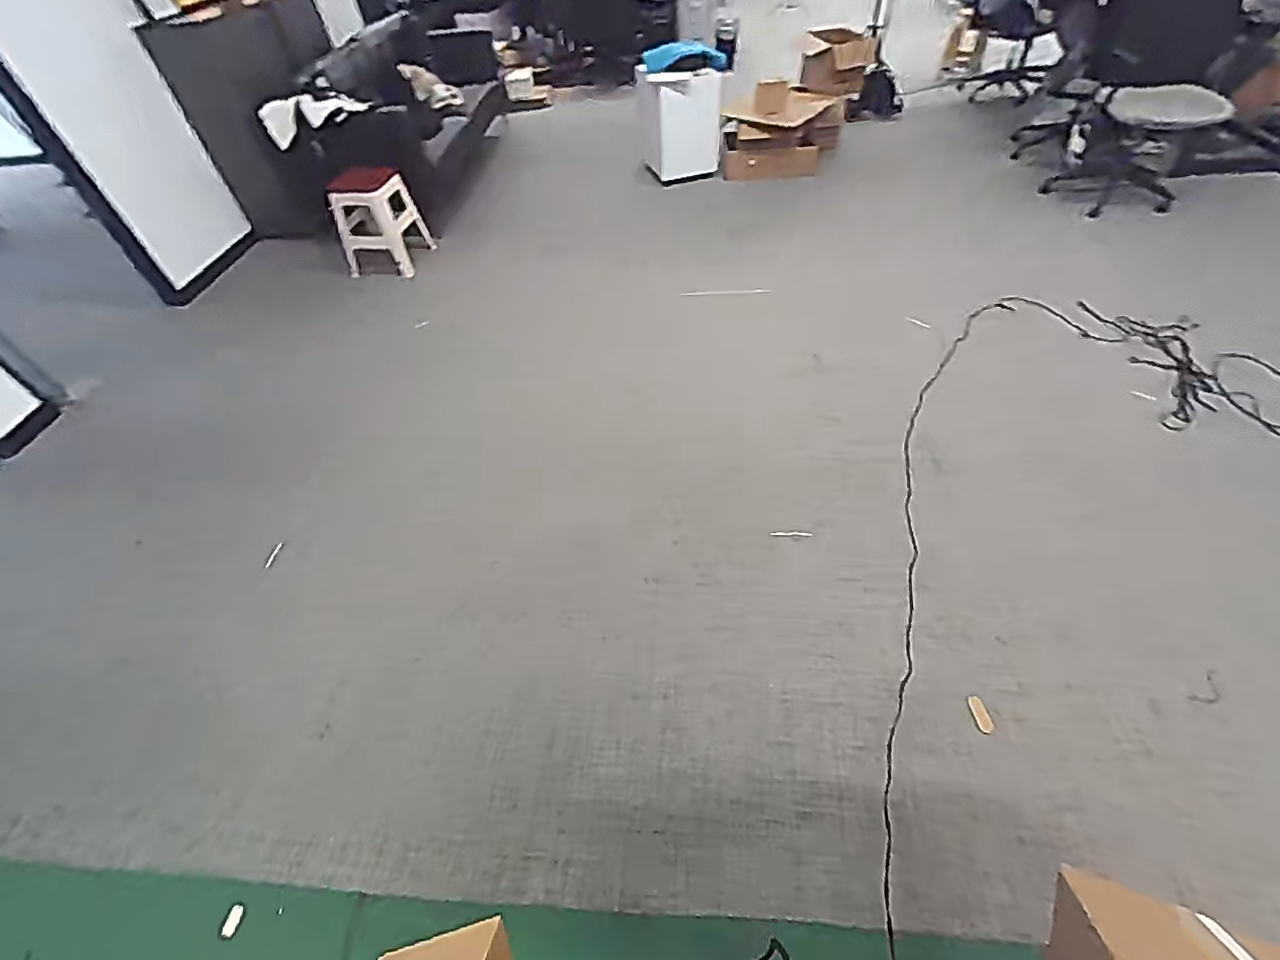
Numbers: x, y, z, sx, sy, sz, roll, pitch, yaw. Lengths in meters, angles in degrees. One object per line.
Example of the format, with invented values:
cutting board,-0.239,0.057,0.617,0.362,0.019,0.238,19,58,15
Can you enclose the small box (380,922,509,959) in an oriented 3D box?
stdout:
small box,-0.240,0.674,0.622,0.168,0.179,0.176,-16,83,-3
